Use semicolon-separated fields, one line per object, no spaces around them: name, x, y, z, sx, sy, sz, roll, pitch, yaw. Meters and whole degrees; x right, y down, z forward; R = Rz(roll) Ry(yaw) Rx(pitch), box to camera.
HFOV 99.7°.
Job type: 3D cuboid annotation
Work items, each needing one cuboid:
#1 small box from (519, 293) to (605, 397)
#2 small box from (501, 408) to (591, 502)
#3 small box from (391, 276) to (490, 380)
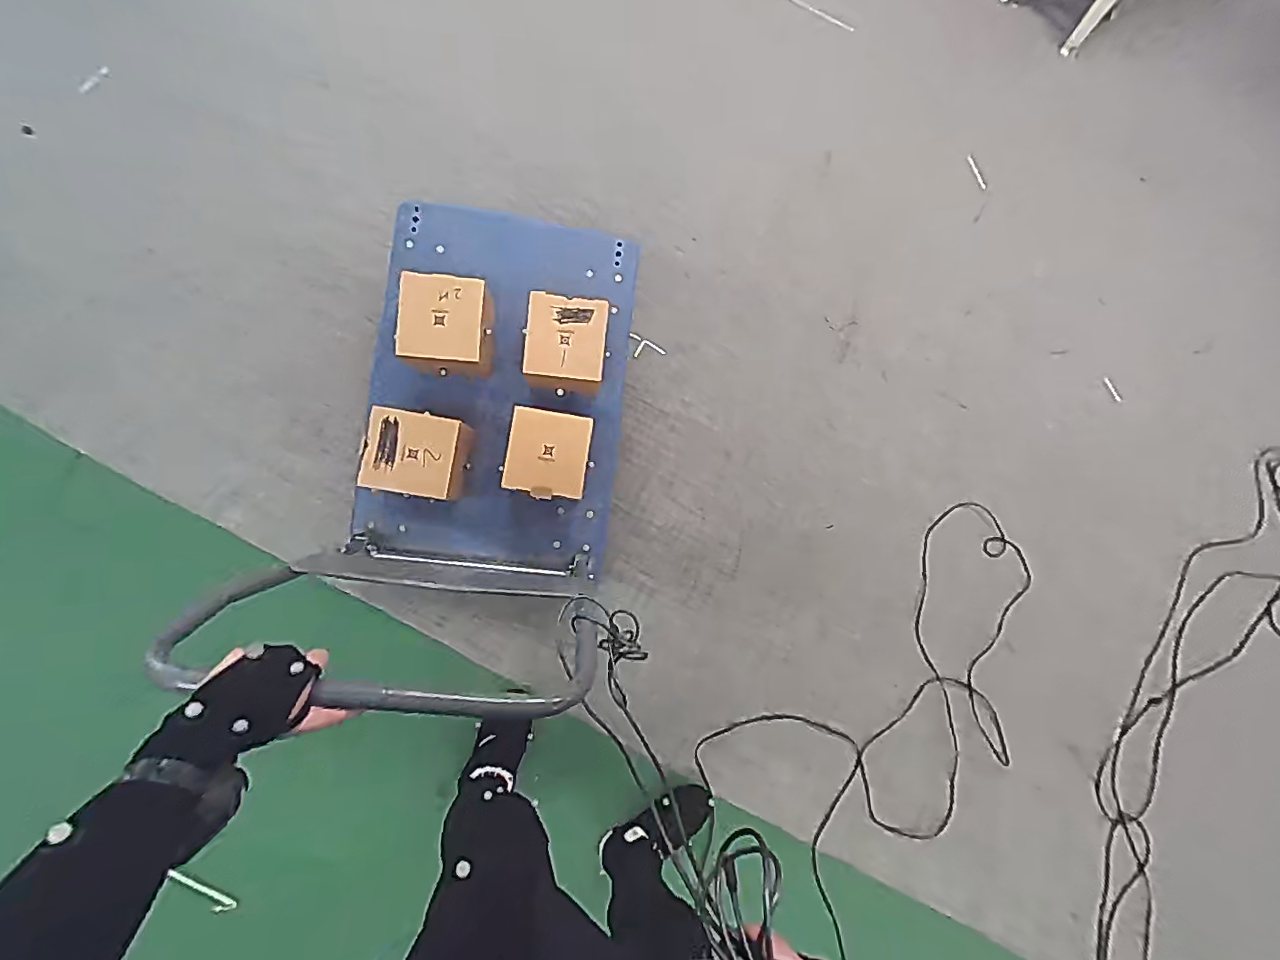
small box;-0.171;-0.293;1.204;0.168;0.176;0.179;5;88;-6
small box;-0.204;-0.050;1.195;0.168;0.176;0.179;8;89;-6
small box;-0.425;-0.320;1.176;0.168;0.176;0.179;3;88;-7
